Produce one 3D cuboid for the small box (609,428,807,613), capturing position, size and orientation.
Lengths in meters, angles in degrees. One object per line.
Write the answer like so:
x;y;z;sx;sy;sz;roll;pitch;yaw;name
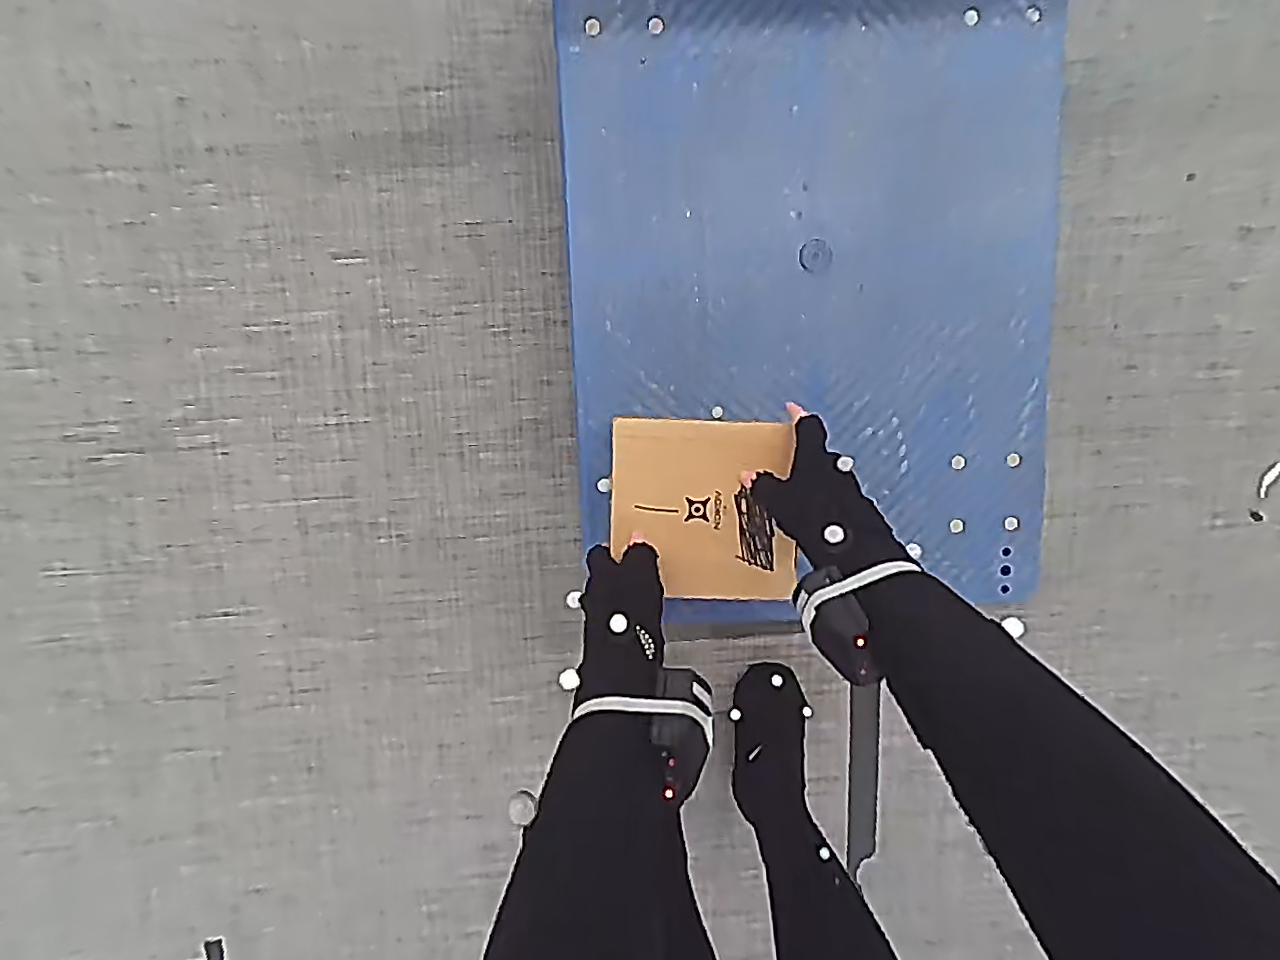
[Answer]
0.058;0.032;0.570;0.179;0.176;0.168;2;96;-1;small box
